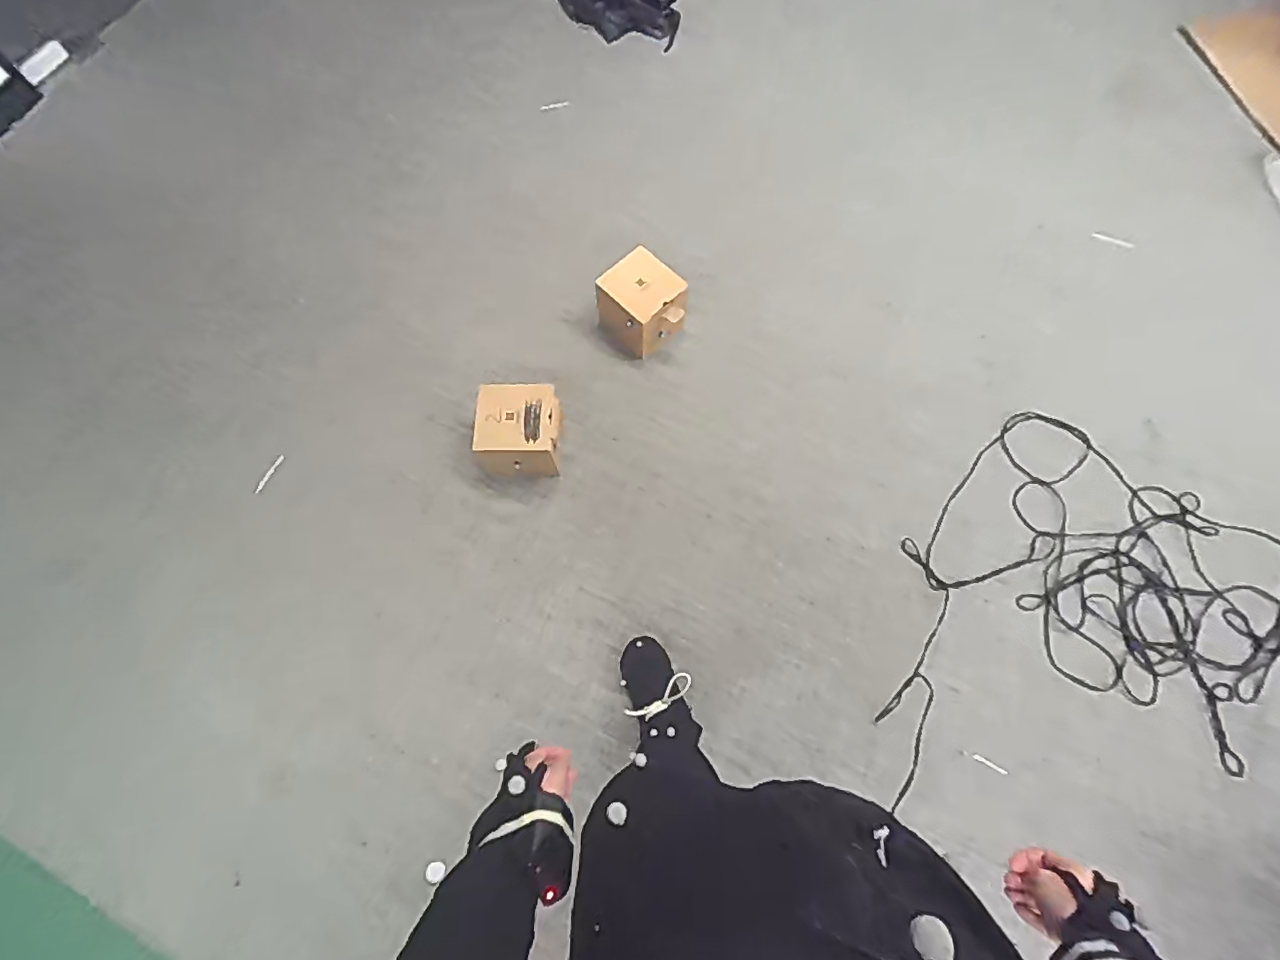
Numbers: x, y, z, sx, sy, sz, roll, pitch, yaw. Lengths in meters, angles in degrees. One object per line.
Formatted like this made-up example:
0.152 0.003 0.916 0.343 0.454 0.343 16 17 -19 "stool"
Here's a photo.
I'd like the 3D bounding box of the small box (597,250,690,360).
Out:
0.006 -0.450 1.410 0.168 0.176 0.179 -43 77 -14 "small box"
